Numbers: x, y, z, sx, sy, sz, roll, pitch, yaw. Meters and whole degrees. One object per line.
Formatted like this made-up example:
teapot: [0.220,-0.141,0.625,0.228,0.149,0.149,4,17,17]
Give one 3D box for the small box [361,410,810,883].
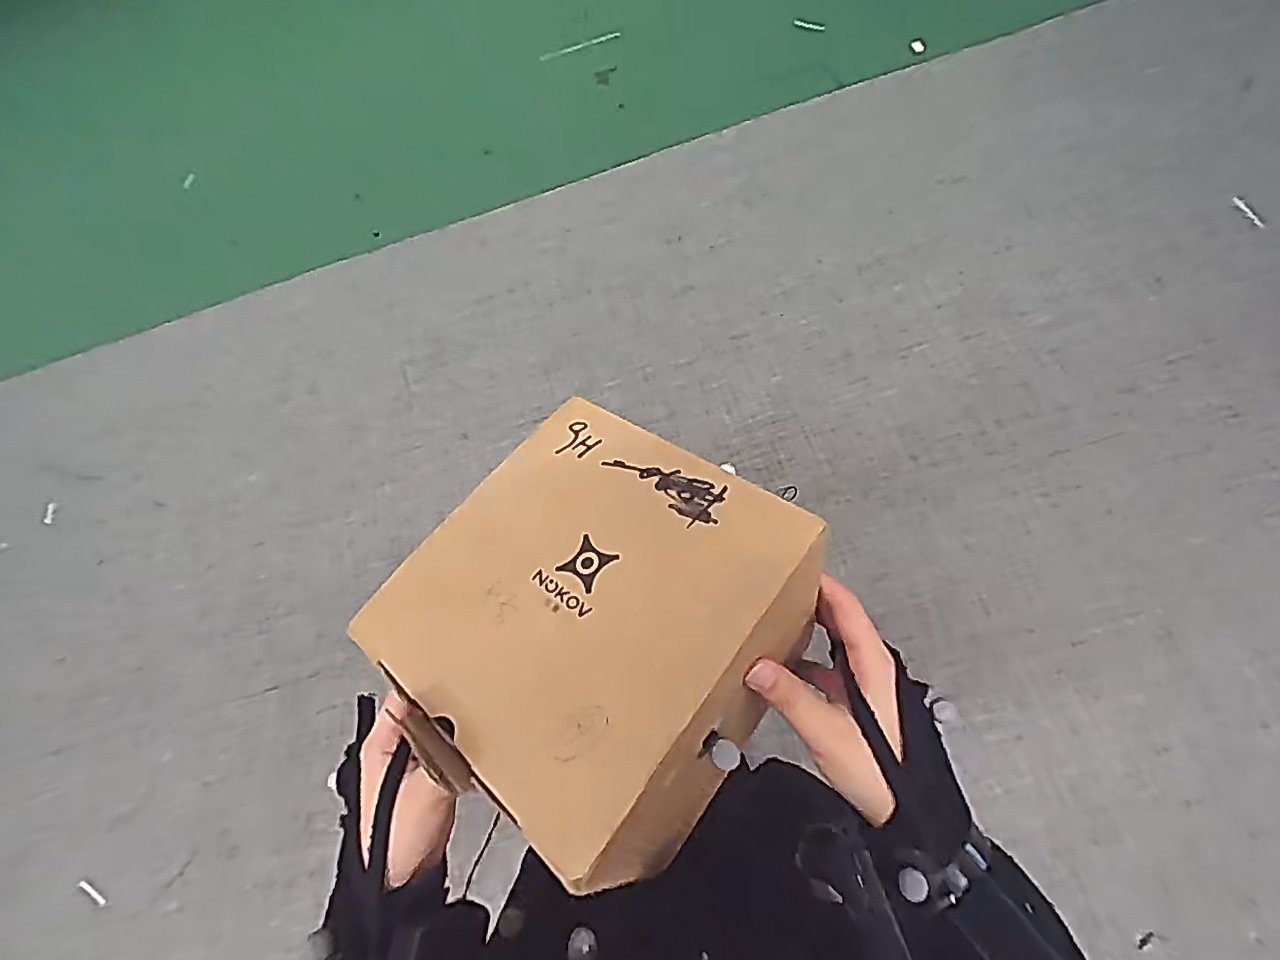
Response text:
small box: [-0.013,0.096,0.327,0.168,0.176,0.179,29,68,29]
